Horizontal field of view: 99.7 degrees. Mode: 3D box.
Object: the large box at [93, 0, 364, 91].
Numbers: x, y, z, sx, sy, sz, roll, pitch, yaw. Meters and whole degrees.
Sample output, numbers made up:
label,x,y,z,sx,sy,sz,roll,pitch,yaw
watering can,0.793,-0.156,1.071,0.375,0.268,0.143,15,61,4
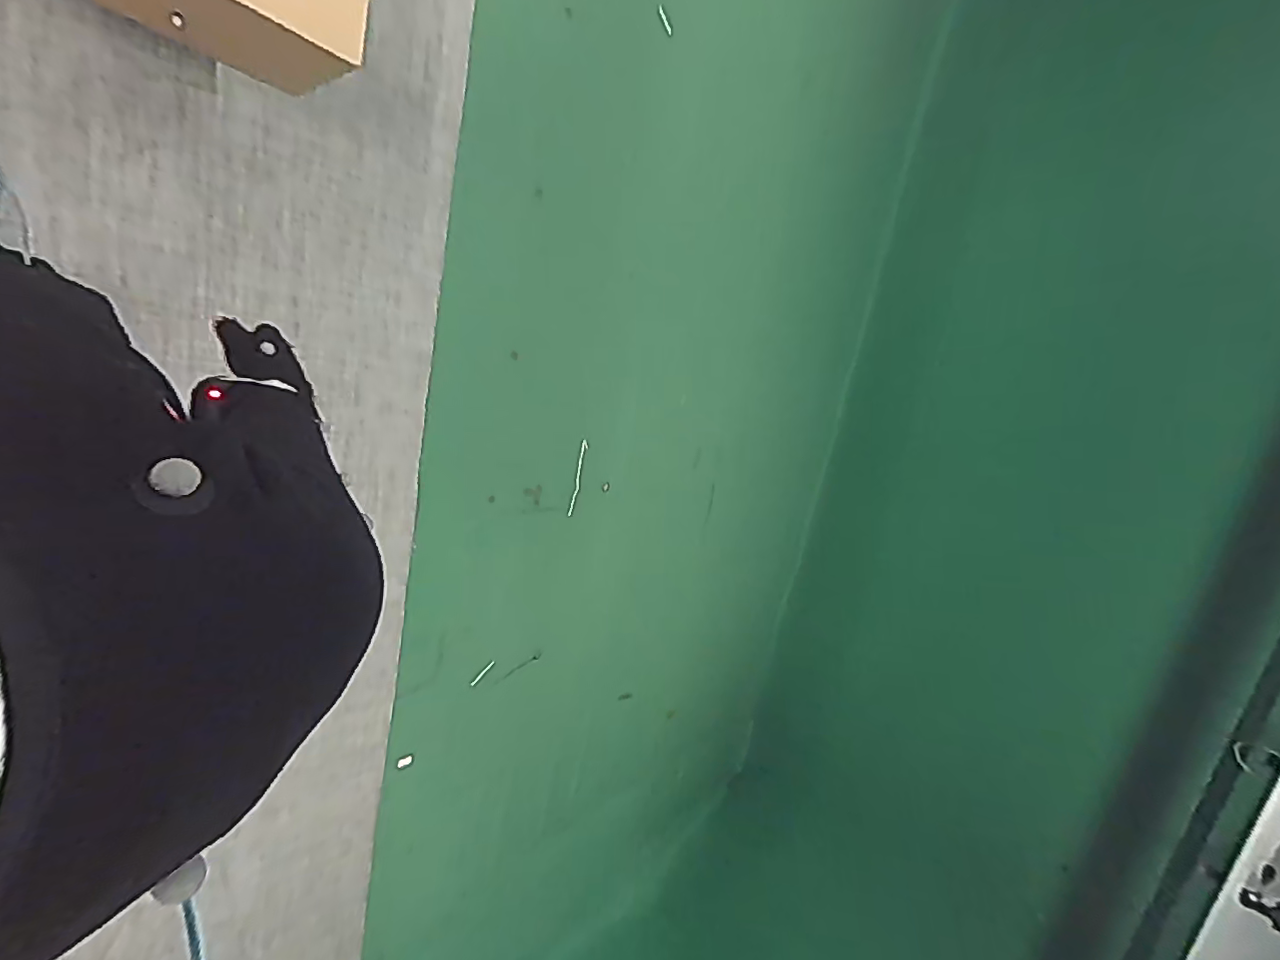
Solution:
label,x,y,z,sx,sy,sz,roll,pitch,yaw
large box,-0.659,-0.849,0.785,0.408,0.320,0.320,0,106,-49
